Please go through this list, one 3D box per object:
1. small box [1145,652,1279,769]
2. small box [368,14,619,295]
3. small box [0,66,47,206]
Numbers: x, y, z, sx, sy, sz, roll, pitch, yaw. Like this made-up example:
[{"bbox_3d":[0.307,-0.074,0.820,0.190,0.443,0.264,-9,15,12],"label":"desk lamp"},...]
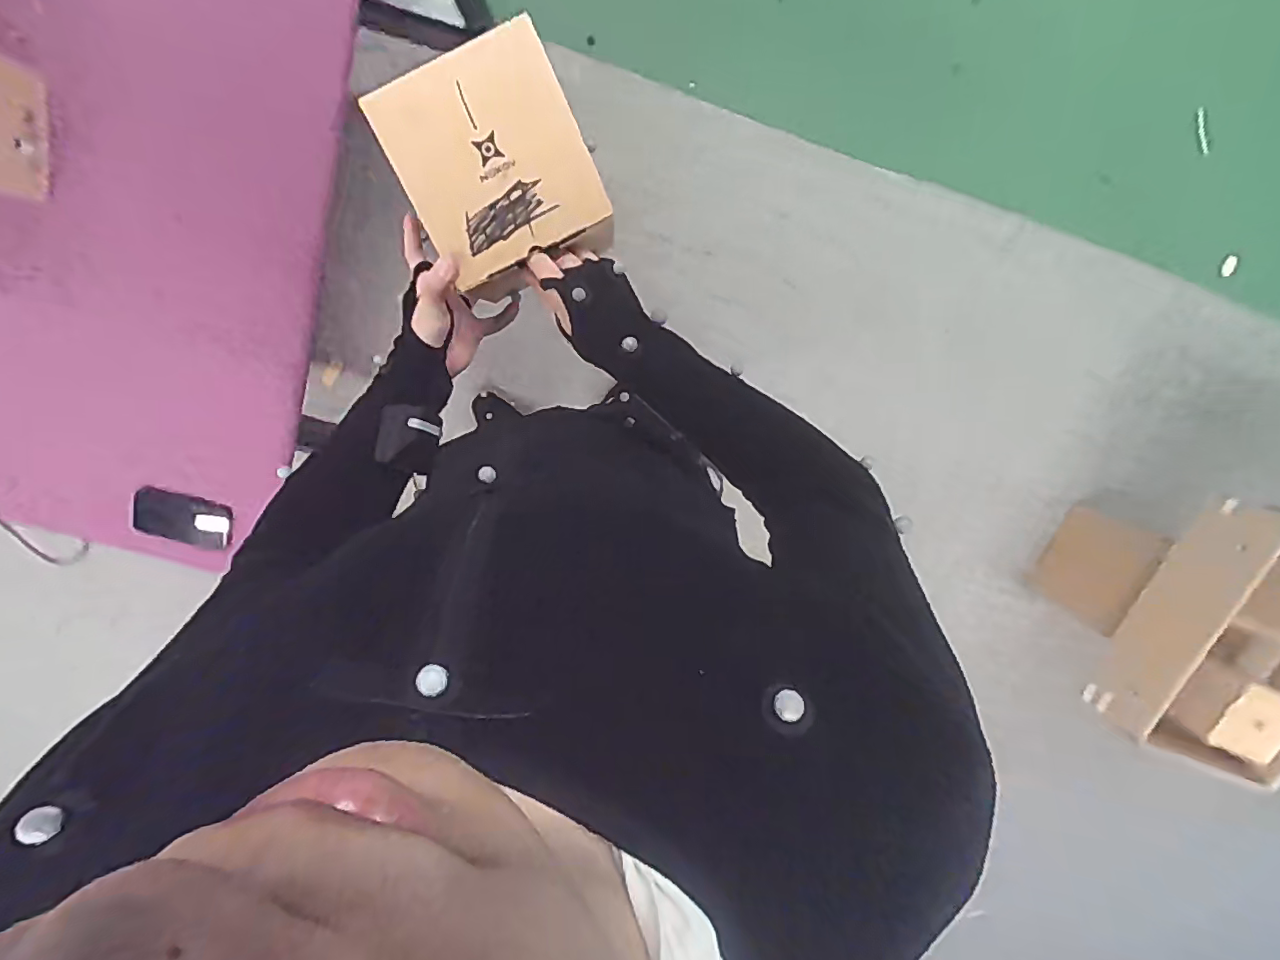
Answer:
[{"bbox_3d":[1.387,0.540,1.287,0.179,0.176,0.168,23,102,-6],"label":"small box"},{"bbox_3d":[-0.129,-0.302,0.552,0.168,0.176,0.179,-24,104,2],"label":"small box"},{"bbox_3d":[-0.910,-0.460,0.667,0.179,0.176,0.168,12,104,-5],"label":"small box"}]
